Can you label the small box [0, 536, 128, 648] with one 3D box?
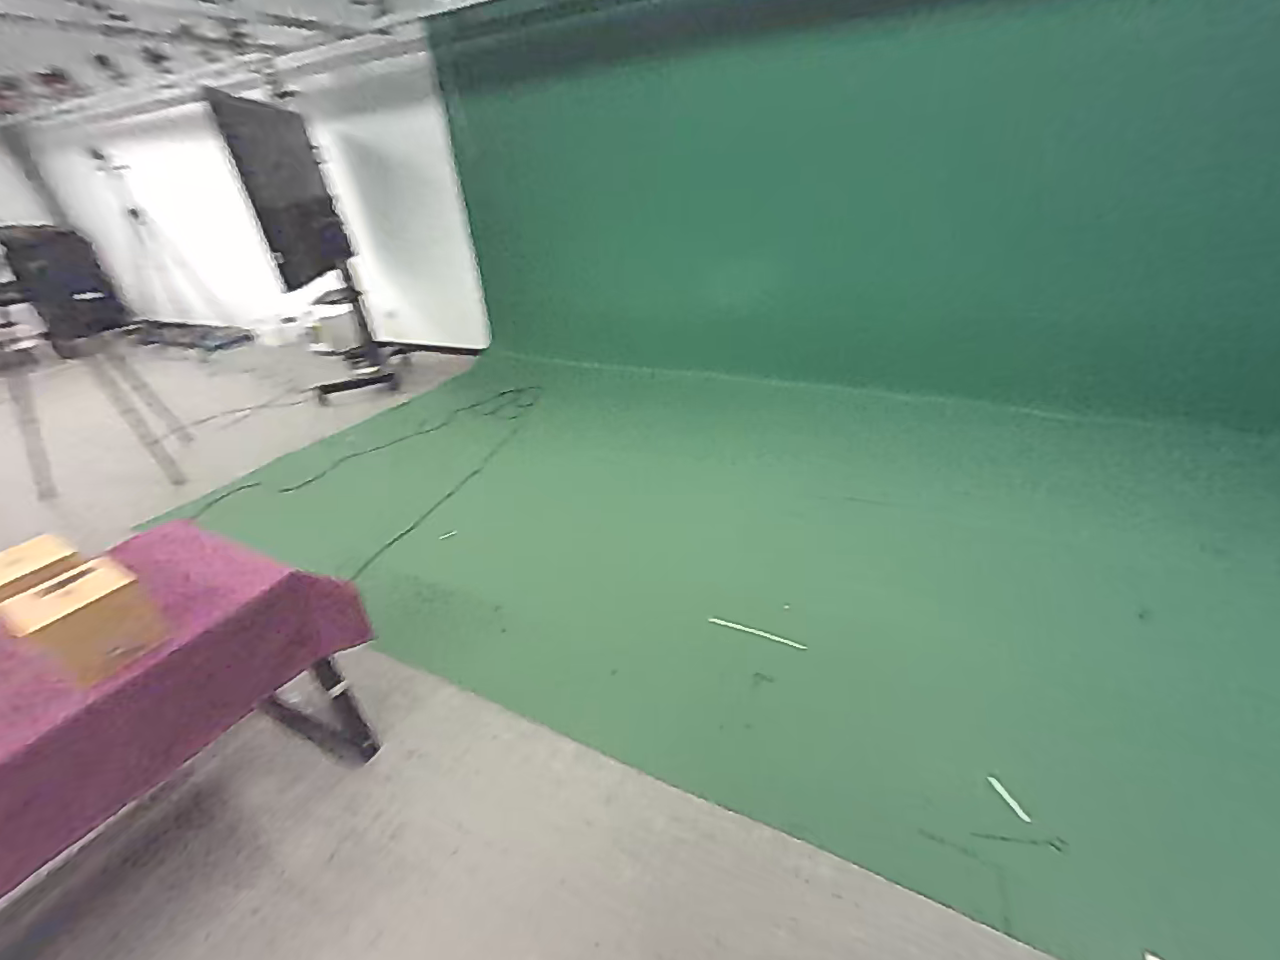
[{"bbox_3d":[-1.354,0.261,1.255,0.179,0.176,0.168,13,36,30],"label":"small box"}]
